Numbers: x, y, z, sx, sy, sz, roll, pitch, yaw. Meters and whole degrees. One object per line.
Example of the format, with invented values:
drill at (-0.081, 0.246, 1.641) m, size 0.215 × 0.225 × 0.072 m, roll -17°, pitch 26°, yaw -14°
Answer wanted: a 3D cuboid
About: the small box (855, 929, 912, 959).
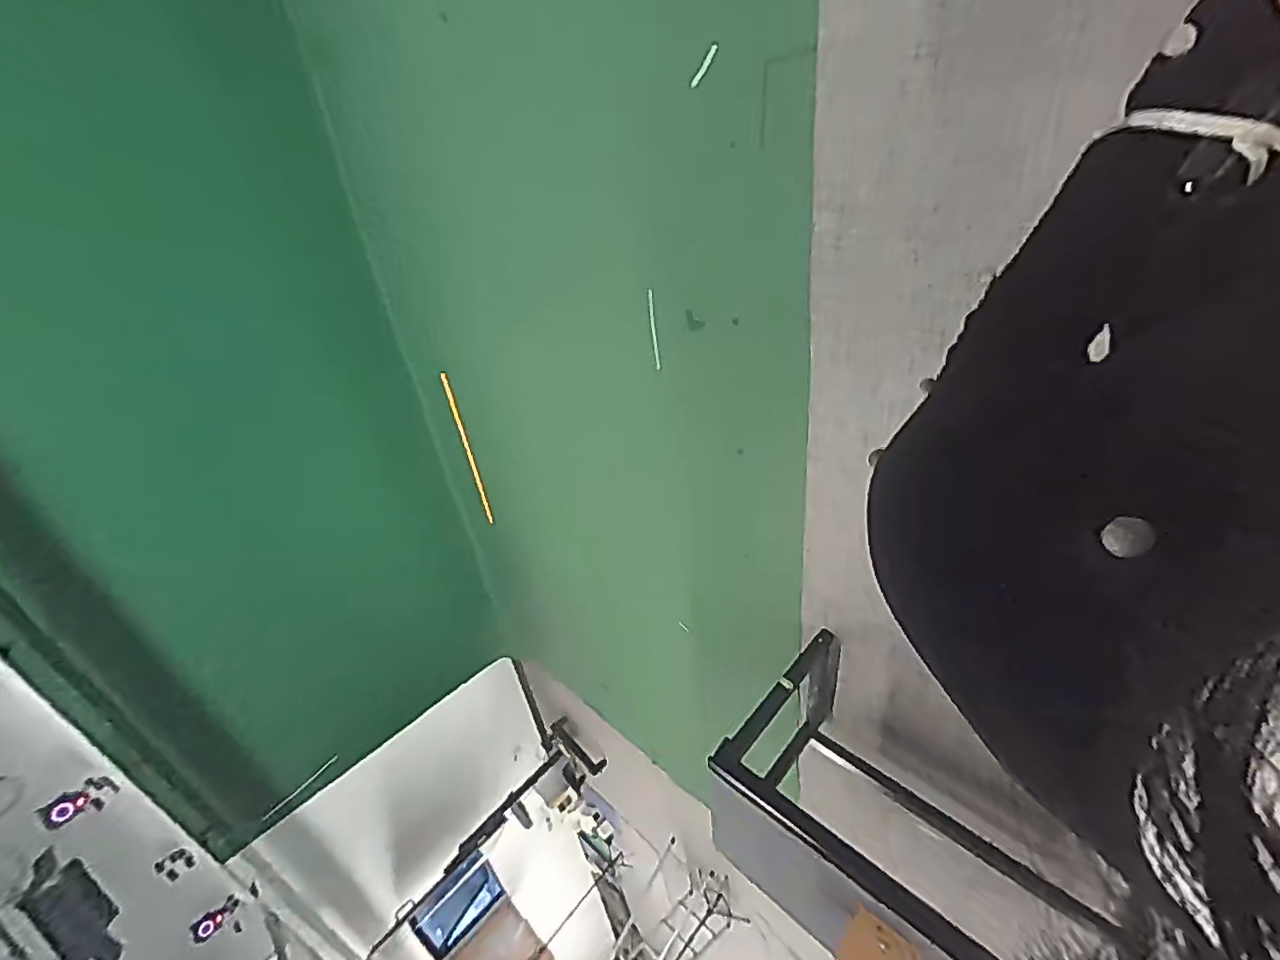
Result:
small box at (0.633, 1.321, 1.385) m, size 0.168 × 0.176 × 0.179 m, roll 19°, pitch 130°, yaw 42°
